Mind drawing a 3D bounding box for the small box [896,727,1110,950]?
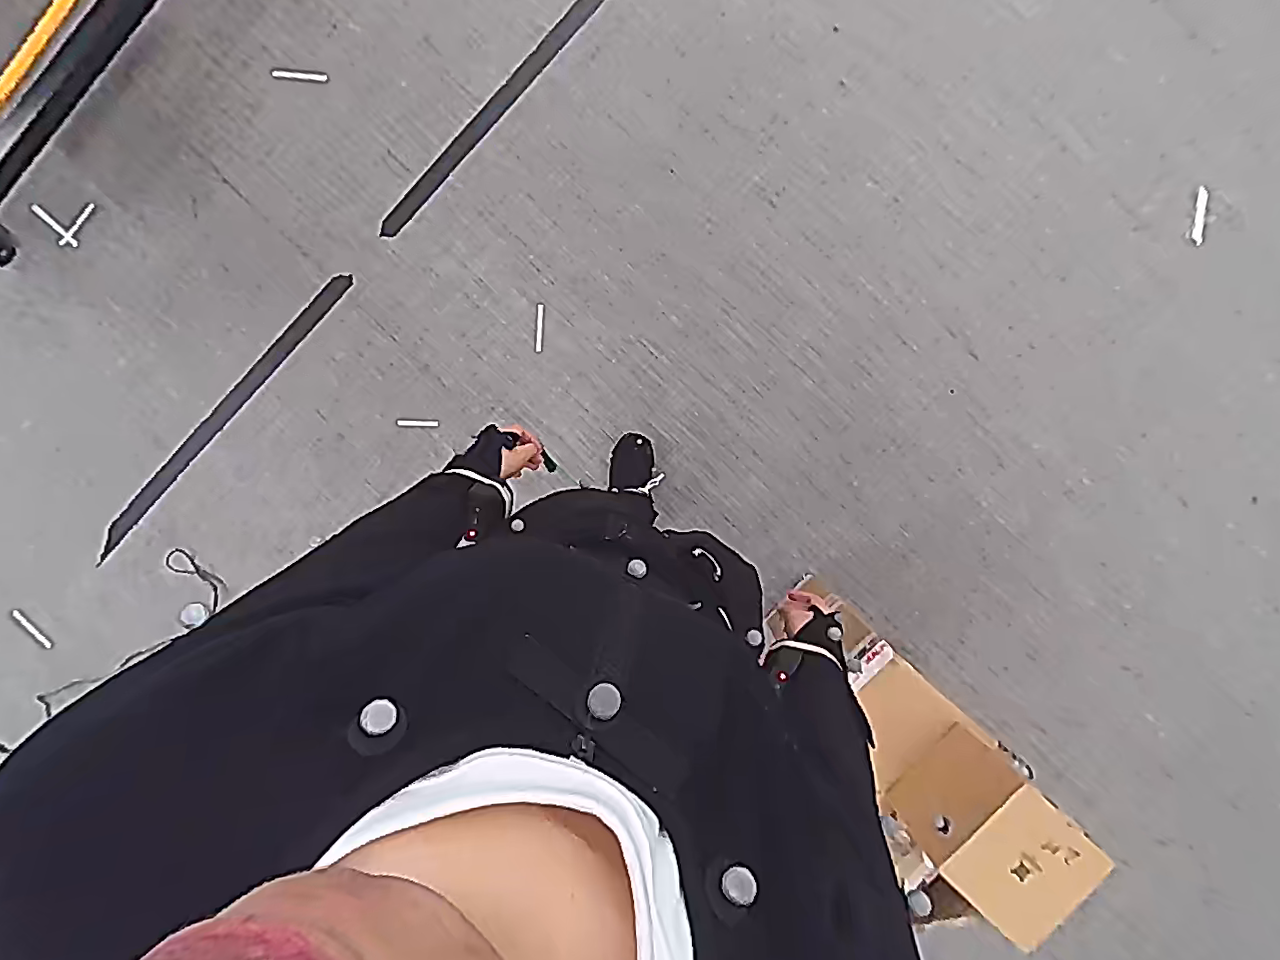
[{"bbox_3d":[0.515,0.515,0.805,0.168,0.176,0.179,44,92,1],"label":"small box"}]
